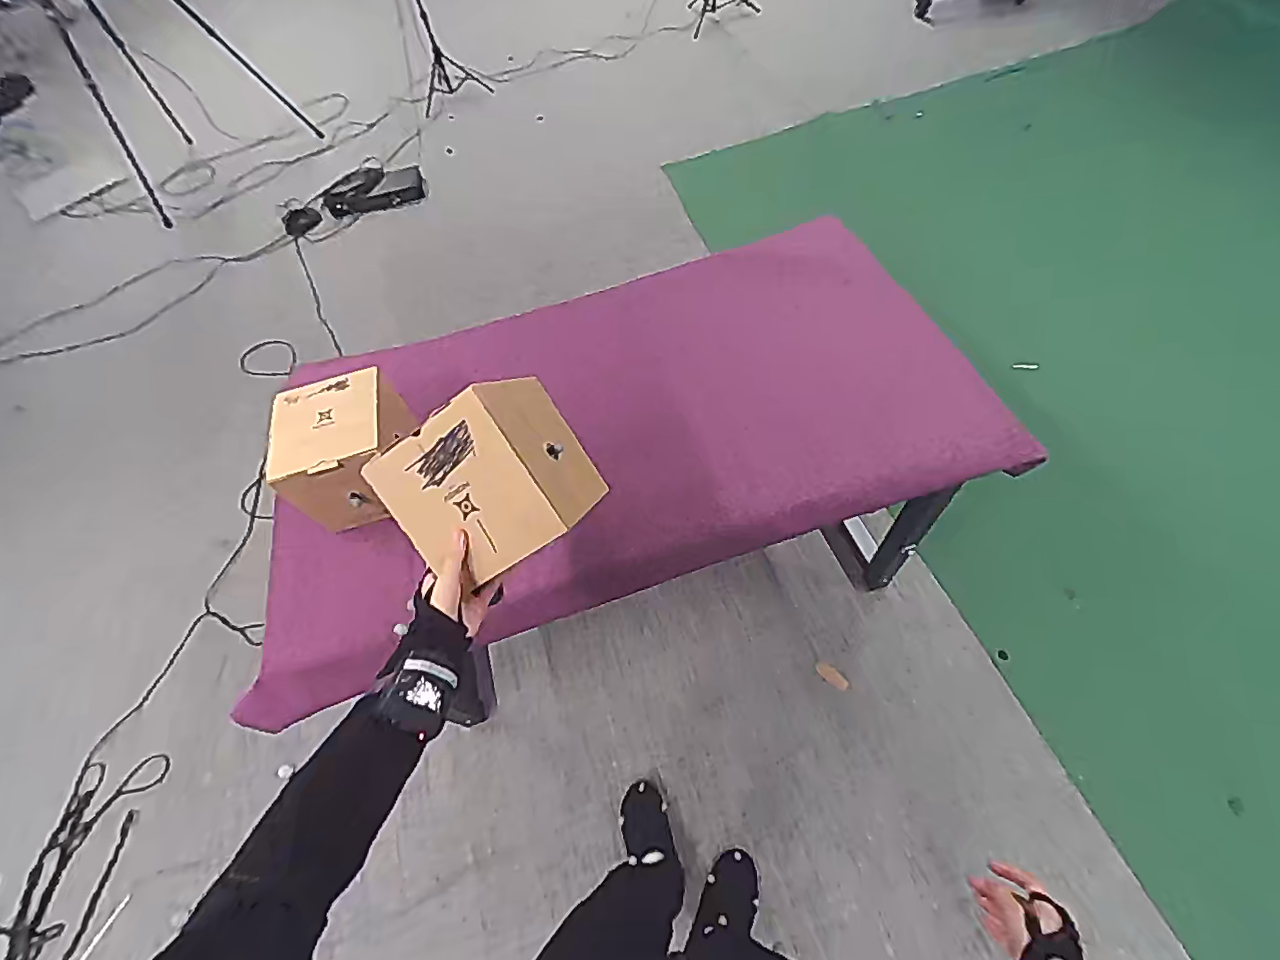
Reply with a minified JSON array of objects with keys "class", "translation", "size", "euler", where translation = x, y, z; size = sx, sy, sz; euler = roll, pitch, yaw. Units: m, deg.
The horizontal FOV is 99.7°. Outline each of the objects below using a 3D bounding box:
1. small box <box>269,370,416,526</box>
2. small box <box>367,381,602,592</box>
[{"class":"small box","translation":[-0.462,-0.042,0.881],"size":[0.168,0.176,0.179],"euler":[-17,58,-3]},{"class":"small box","translation":[-0.169,-0.003,0.644],"size":[0.168,0.176,0.179],"euler":[-31,96,15]}]
